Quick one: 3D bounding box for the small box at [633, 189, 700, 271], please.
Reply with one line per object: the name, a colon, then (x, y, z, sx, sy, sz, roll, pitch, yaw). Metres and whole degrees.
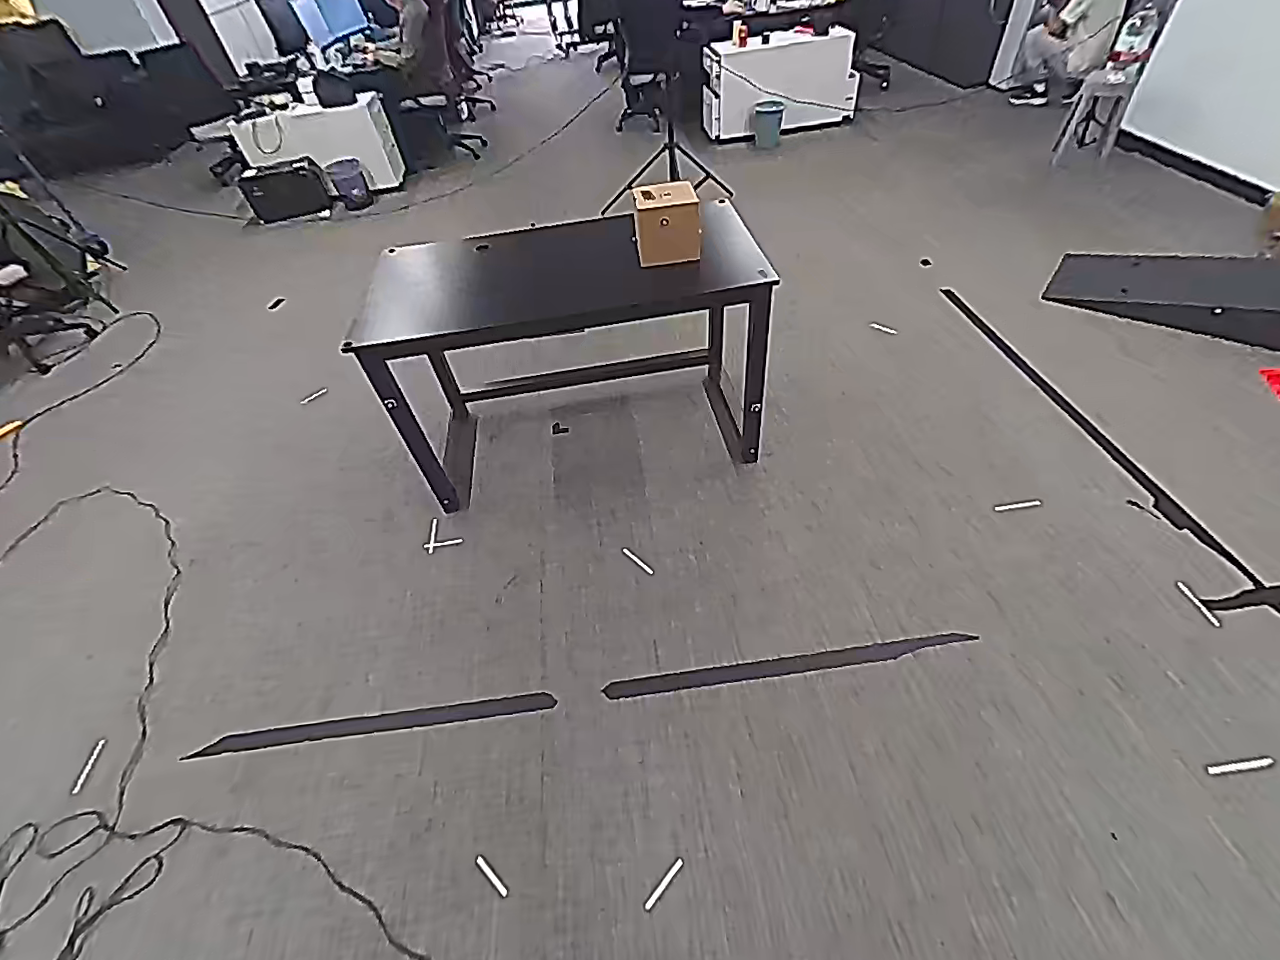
small box: (0.081, -0.742, 1.615, 0.179, 0.176, 0.168, -7, 47, 0)
